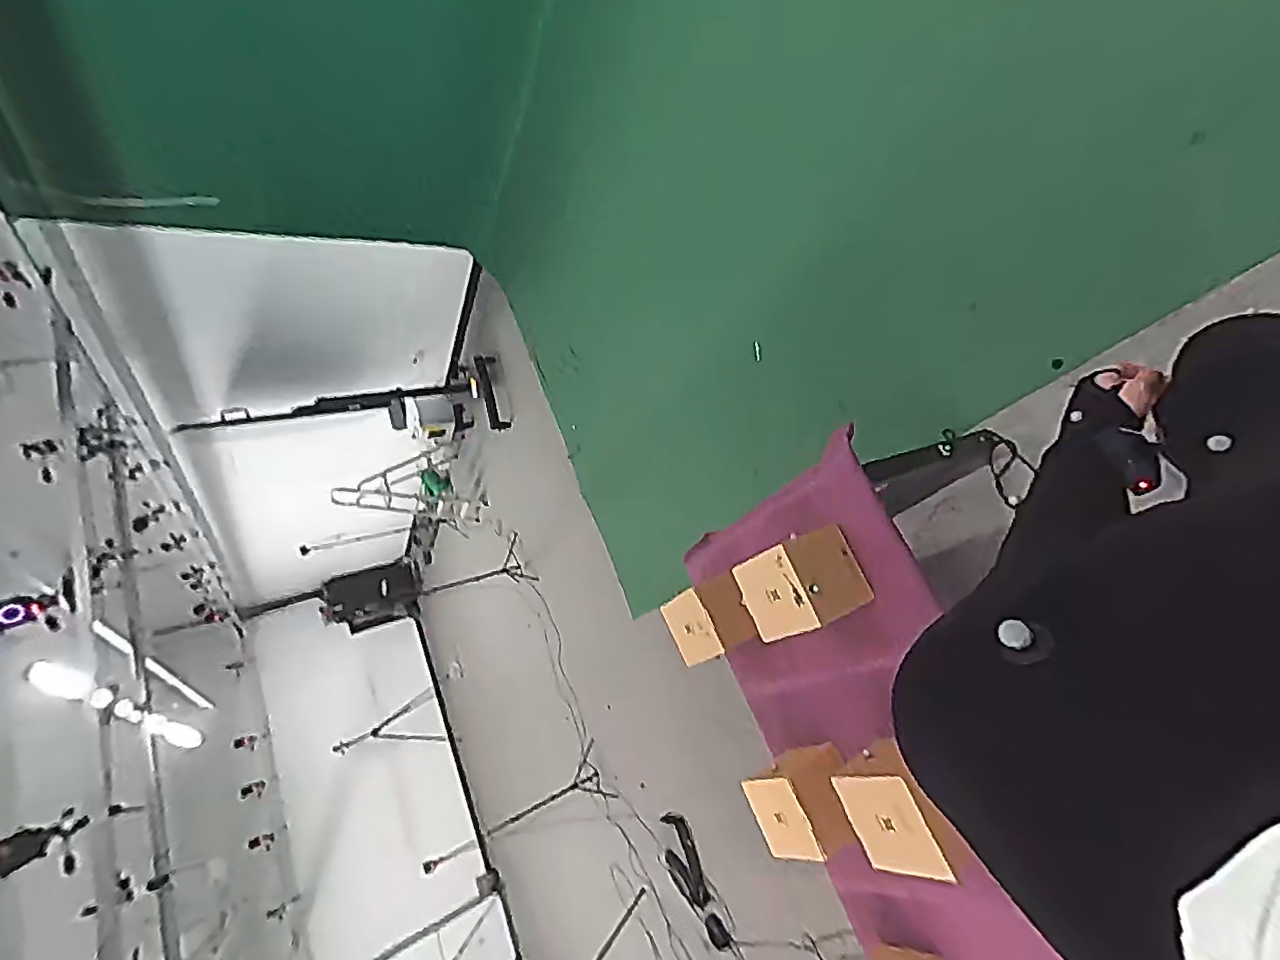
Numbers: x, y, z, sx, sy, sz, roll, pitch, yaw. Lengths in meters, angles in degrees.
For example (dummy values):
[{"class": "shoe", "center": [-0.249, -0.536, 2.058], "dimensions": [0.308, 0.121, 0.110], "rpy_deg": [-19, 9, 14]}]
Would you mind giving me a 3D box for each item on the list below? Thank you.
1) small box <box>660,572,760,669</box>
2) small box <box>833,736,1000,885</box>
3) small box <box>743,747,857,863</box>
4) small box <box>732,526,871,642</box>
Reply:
[{"class": "small box", "center": [0.185, 0.348, 1.353], "dimensions": [0.168, 0.176, 0.179], "rpy_deg": [63, 143, 16]}, {"class": "small box", "center": [0.499, 0.587, 0.982], "dimensions": [0.179, 0.176, 0.168], "rpy_deg": [-46, 63, 52]}, {"class": "small box", "center": [0.372, 0.723, 1.214], "dimensions": [0.179, 0.176, 0.168], "rpy_deg": [-48, 61, 49]}, {"class": "small box", "center": [0.327, 0.212, 1.104], "dimensions": [0.179, 0.176, 0.168], "rpy_deg": [-45, 65, 54]}]
